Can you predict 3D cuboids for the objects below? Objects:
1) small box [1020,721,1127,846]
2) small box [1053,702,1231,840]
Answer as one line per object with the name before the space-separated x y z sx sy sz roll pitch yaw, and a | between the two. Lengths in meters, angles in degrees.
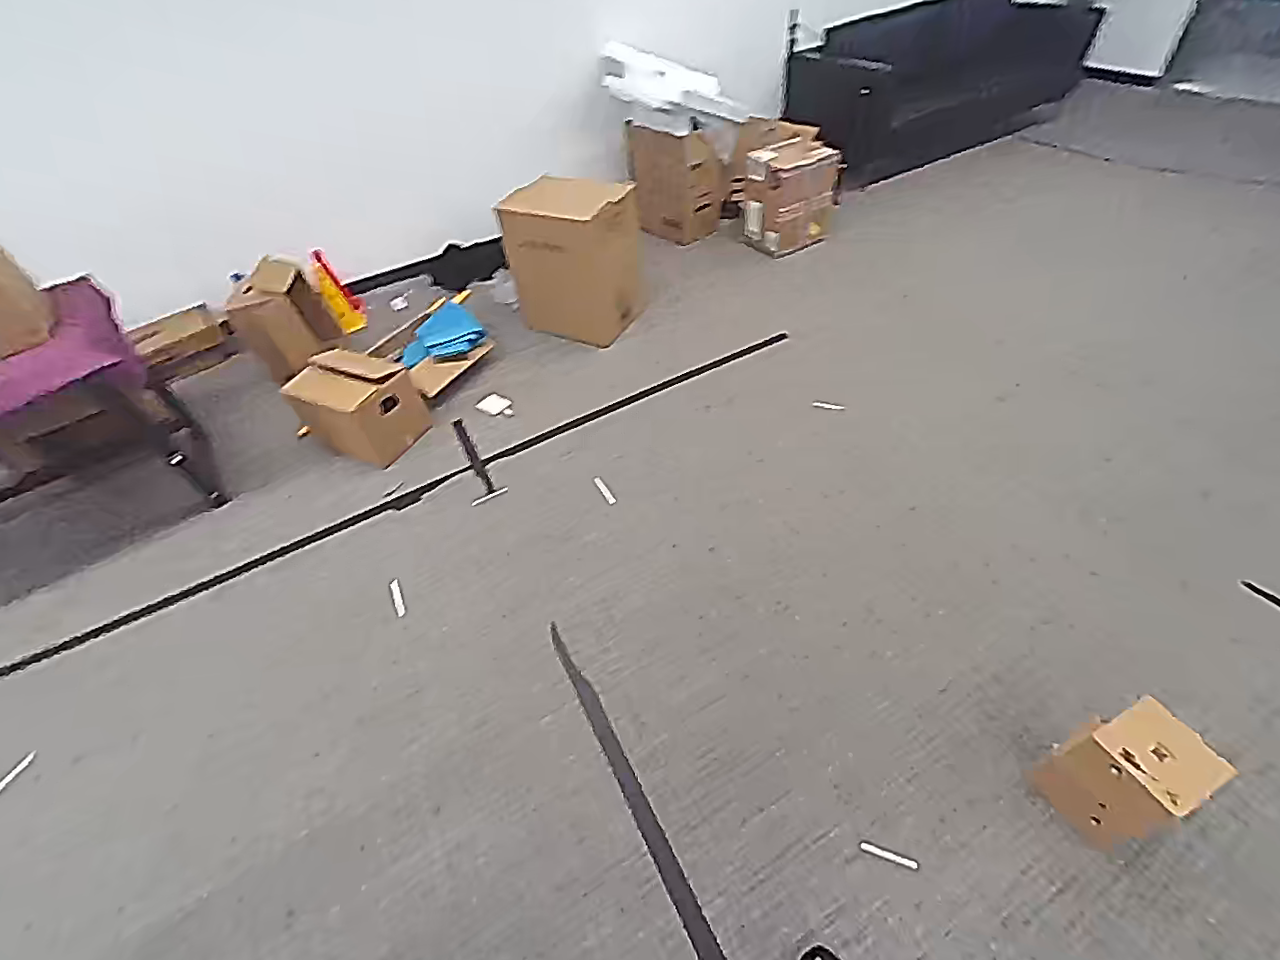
small box | 1.018 0.690 1.220 0.168 0.176 0.179 -27 49 -19
small box | 0.996 0.589 1.093 0.179 0.176 0.168 -21 48 -15
